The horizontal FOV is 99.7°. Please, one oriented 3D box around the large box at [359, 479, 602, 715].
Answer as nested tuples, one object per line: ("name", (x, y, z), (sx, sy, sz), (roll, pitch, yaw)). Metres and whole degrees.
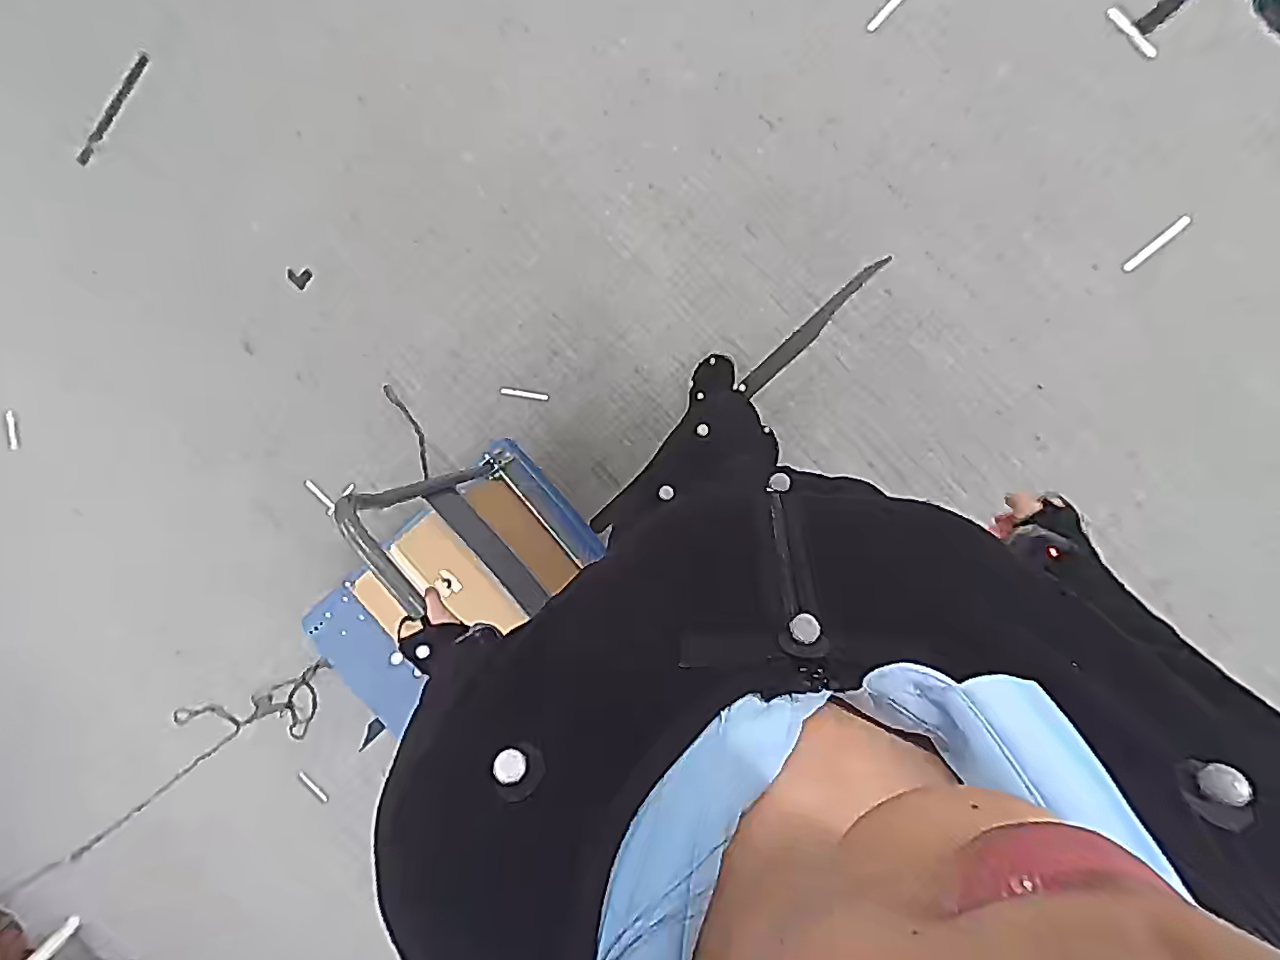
("large box", (-0.359, 0.262, 1.311), (0.320, 0.320, 0.408), (-40, 91, 13))
